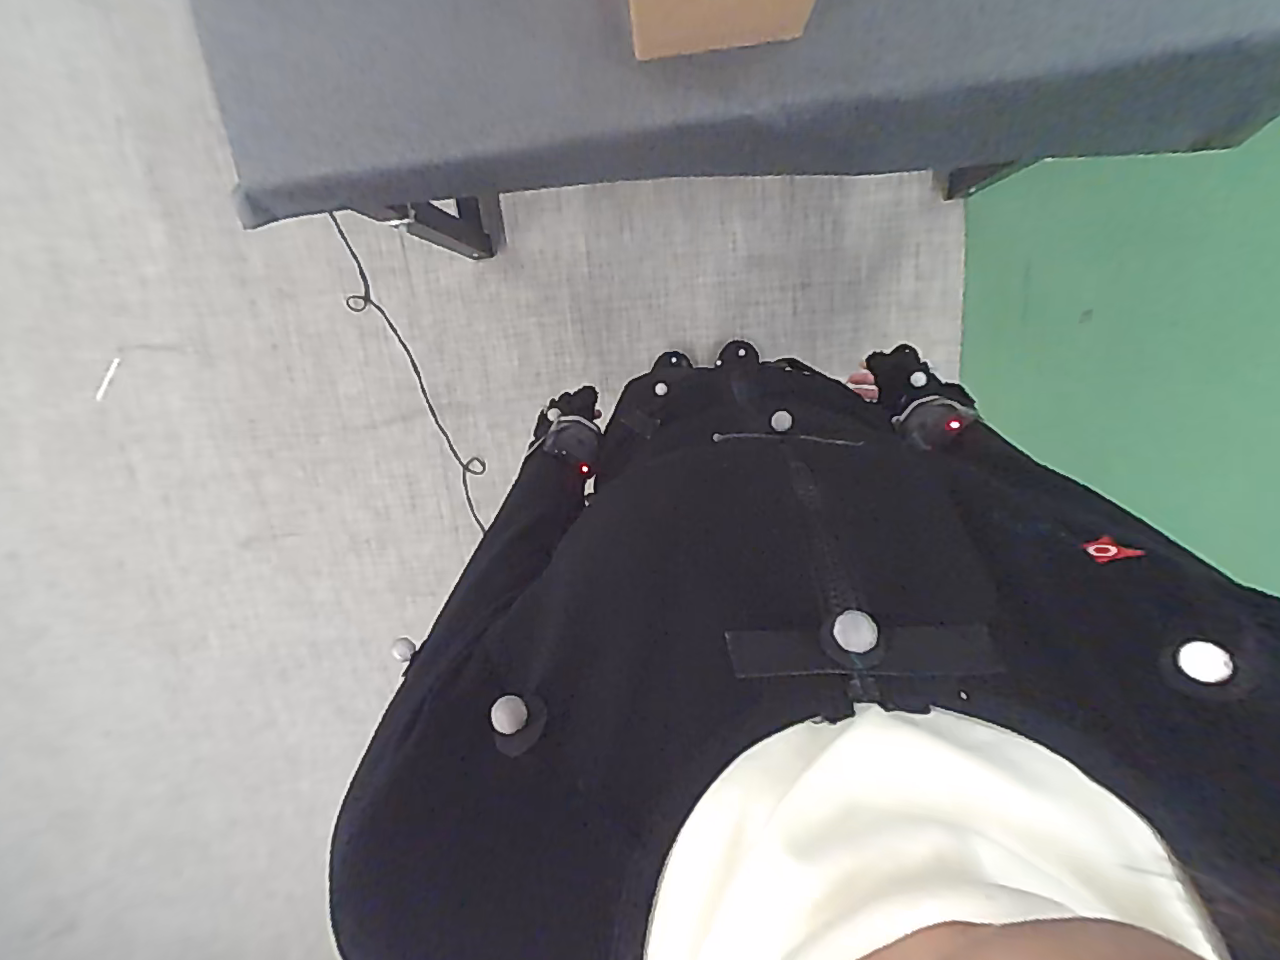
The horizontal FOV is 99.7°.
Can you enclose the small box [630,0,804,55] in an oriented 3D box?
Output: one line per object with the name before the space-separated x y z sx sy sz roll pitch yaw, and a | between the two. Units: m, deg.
small box | 0.071 -0.529 0.496 0.179 0.176 0.168 -5 105 4
